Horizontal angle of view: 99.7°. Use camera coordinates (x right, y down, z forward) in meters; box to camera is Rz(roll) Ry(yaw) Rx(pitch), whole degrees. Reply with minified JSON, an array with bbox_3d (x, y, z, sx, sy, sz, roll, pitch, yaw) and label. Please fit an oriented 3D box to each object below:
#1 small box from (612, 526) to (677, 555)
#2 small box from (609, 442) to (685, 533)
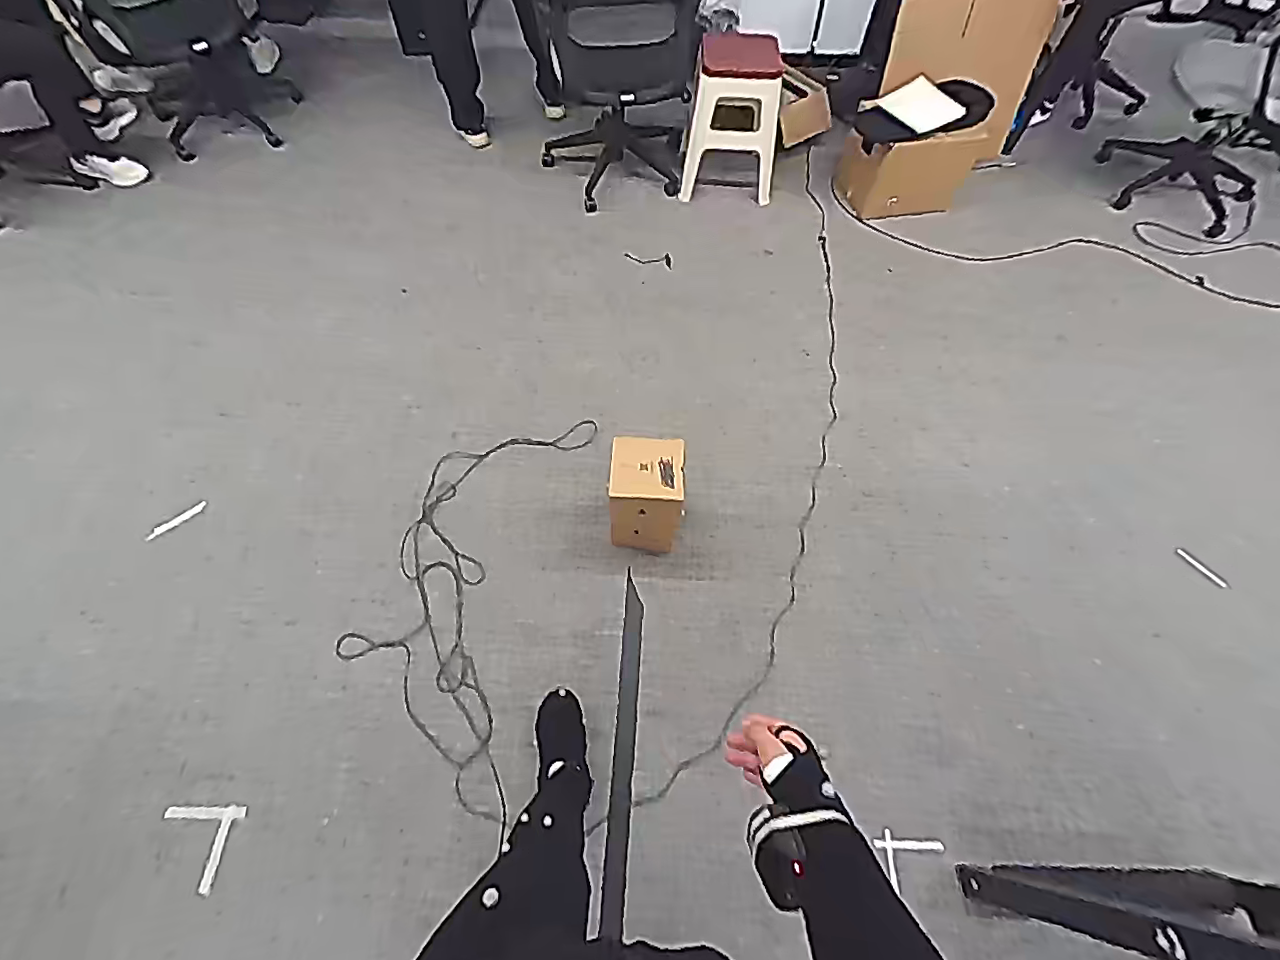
[{"bbox_3d":[0.018,0.095,1.496,0.179,0.176,0.168,8,60,4],"label":"small box"},{"bbox_3d":[0.016,0.023,1.347,0.179,0.176,0.168,3,60,0],"label":"small box"}]
